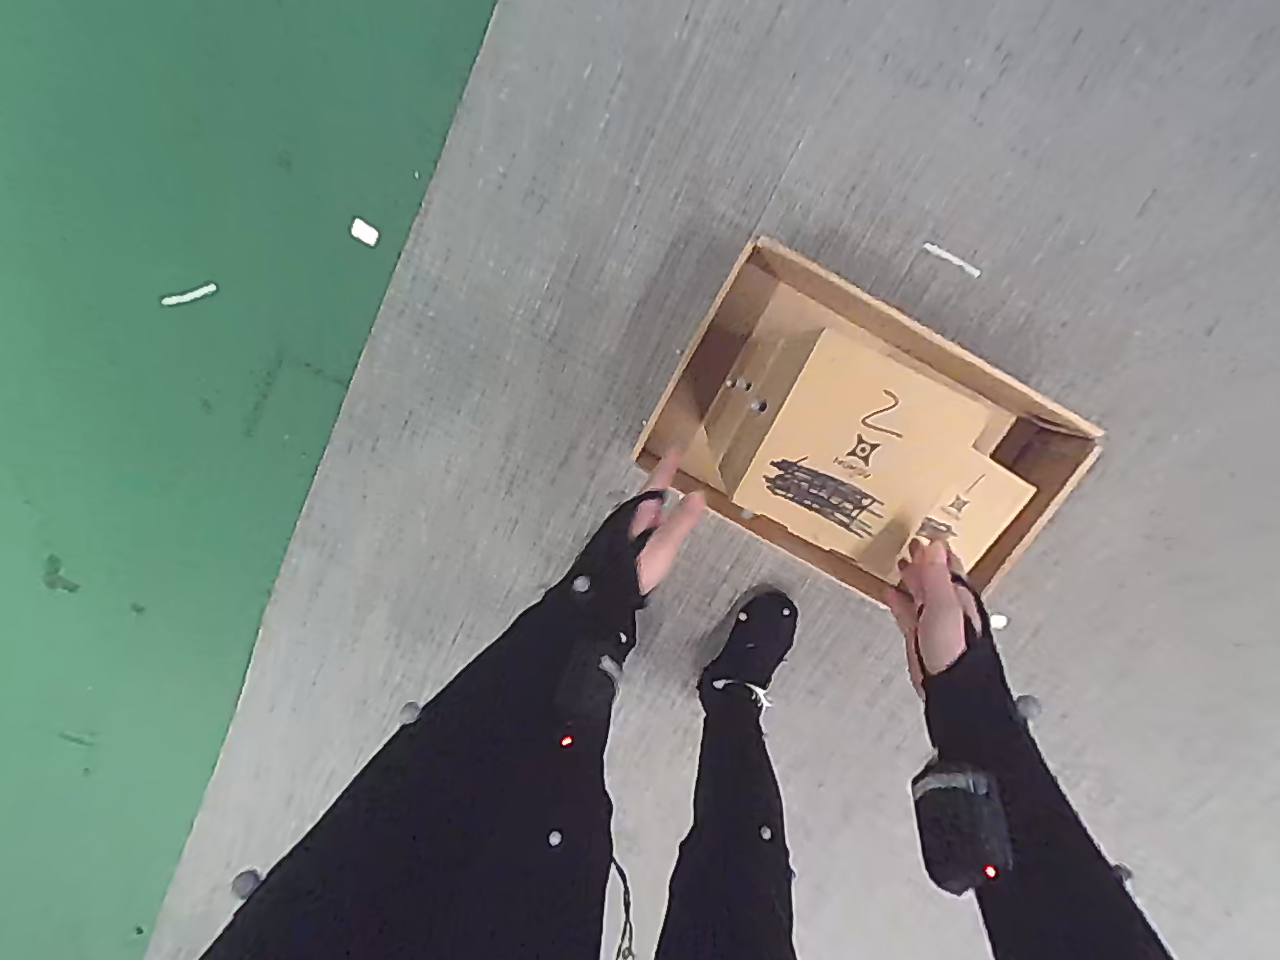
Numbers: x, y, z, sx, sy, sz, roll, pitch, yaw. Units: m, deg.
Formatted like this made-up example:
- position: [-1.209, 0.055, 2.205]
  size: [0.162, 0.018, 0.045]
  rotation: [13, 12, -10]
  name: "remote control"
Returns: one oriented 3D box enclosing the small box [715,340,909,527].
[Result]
- position: [0.209, -0.069, 0.720]
  size: [0.168, 0.176, 0.179]
  rotation: [26, 102, -1]
  name: "small box"
